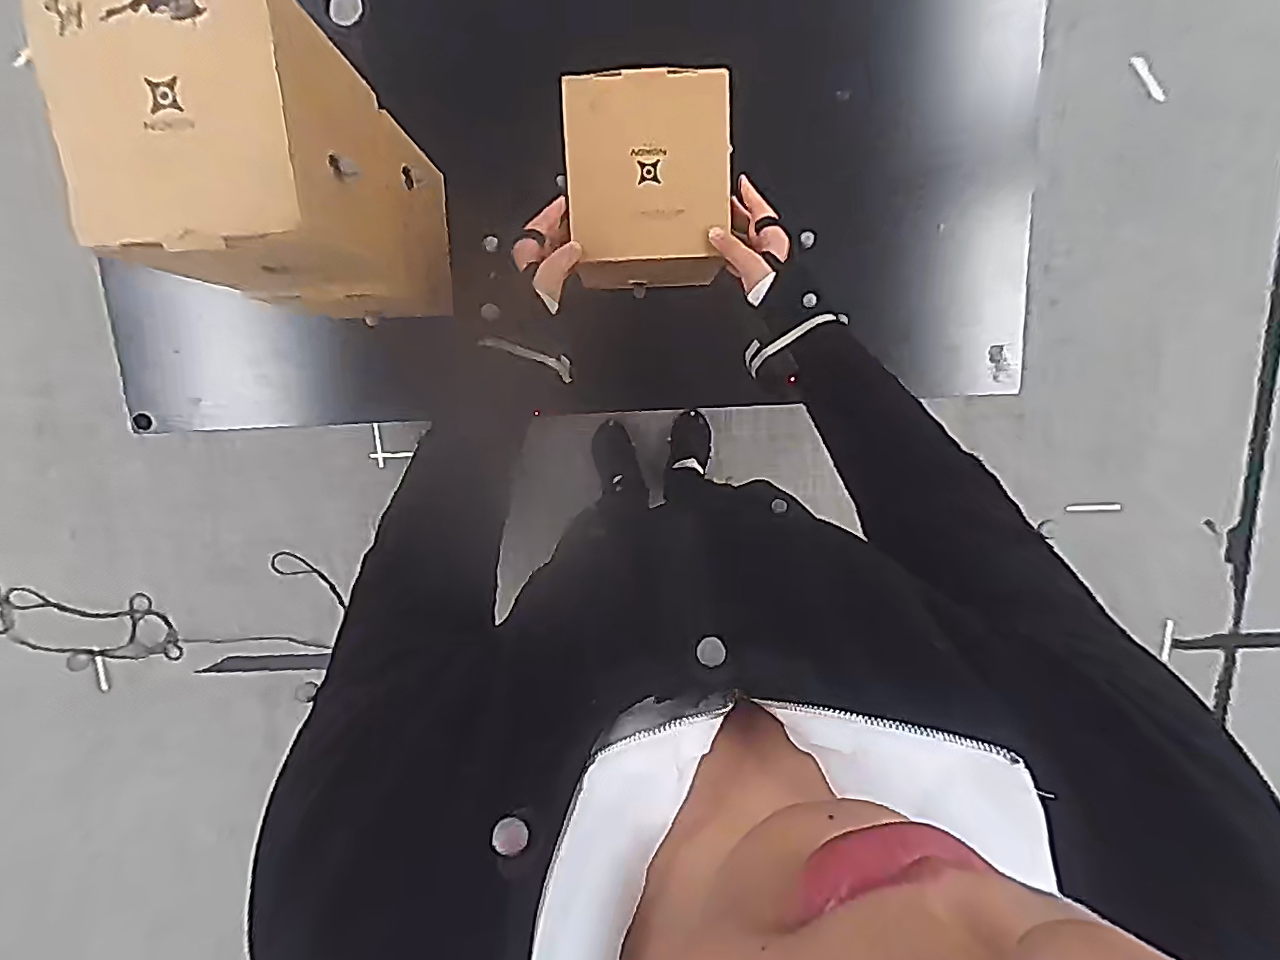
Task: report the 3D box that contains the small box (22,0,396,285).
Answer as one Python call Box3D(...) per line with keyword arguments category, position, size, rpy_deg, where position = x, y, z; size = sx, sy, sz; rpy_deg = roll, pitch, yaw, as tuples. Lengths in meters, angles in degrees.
Box3D(category="small box", position=(-0.327, -0.267, 0.454), size=(0.168, 0.176, 0.179), rpy_deg=(-4, 100, -1))

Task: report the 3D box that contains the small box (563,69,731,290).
Box3D(category="small box", position=(0.008, -0.326, 0.619), size=(0.168, 0.176, 0.179), rpy_deg=(-3, 101, 1))

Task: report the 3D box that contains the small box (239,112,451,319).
Box3D(category="small box", position=(-0.328, -0.286, 0.618), size=(0.168, 0.176, 0.179), rpy_deg=(-1, 100, -1))
